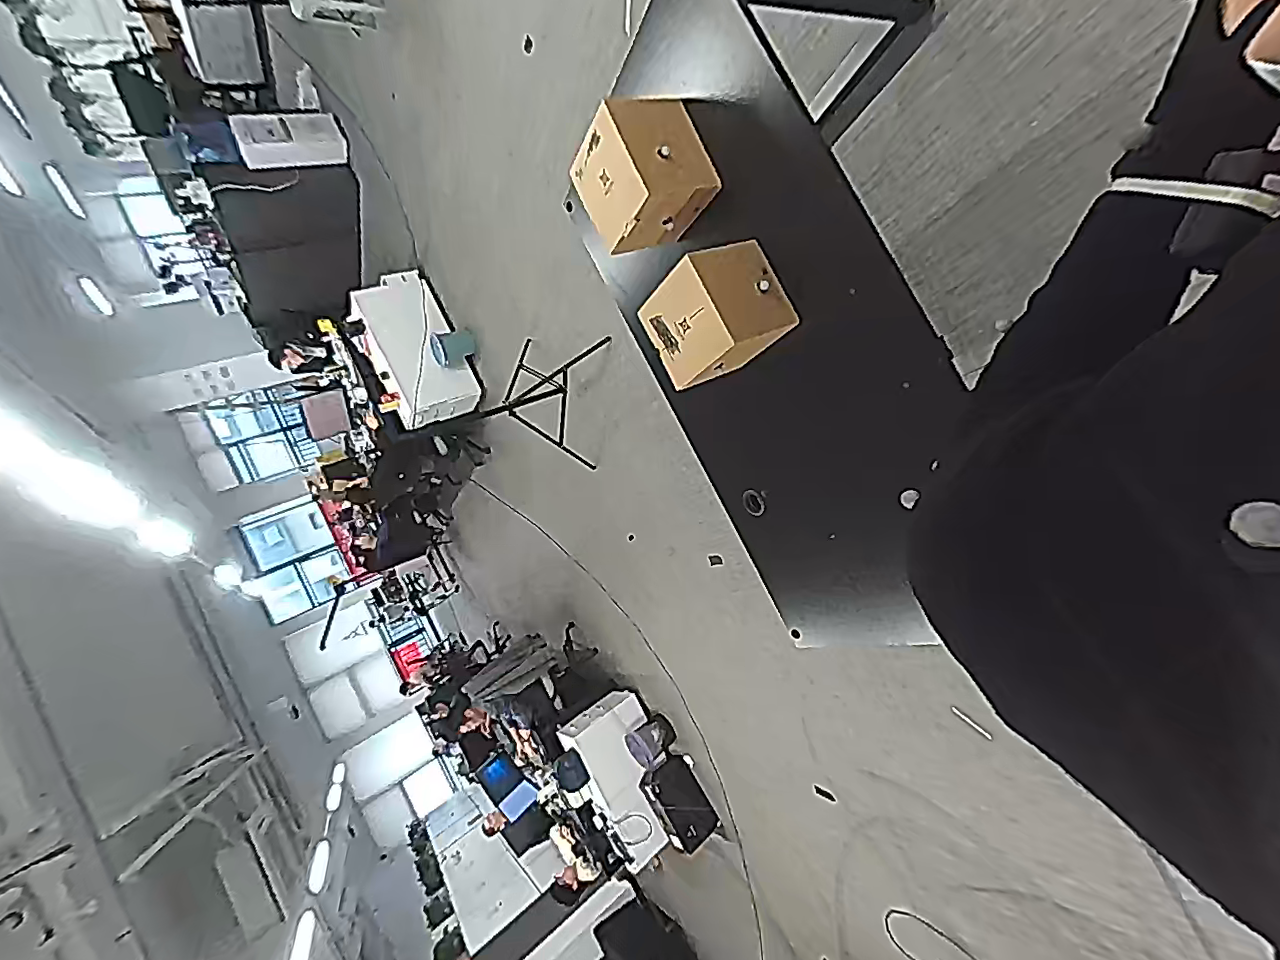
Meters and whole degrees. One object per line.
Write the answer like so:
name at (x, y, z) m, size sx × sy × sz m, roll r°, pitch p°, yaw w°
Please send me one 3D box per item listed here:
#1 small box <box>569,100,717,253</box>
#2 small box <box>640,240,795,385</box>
small box at (0.007, -0.544, 0.966) m, size 0.179 × 0.176 × 0.168 m, roll 63°, pitch 150°, yaw 0°
small box at (0.135, -0.293, 0.955) m, size 0.168 × 0.176 × 0.179 m, roll 62°, pitch 149°, yaw 2°
